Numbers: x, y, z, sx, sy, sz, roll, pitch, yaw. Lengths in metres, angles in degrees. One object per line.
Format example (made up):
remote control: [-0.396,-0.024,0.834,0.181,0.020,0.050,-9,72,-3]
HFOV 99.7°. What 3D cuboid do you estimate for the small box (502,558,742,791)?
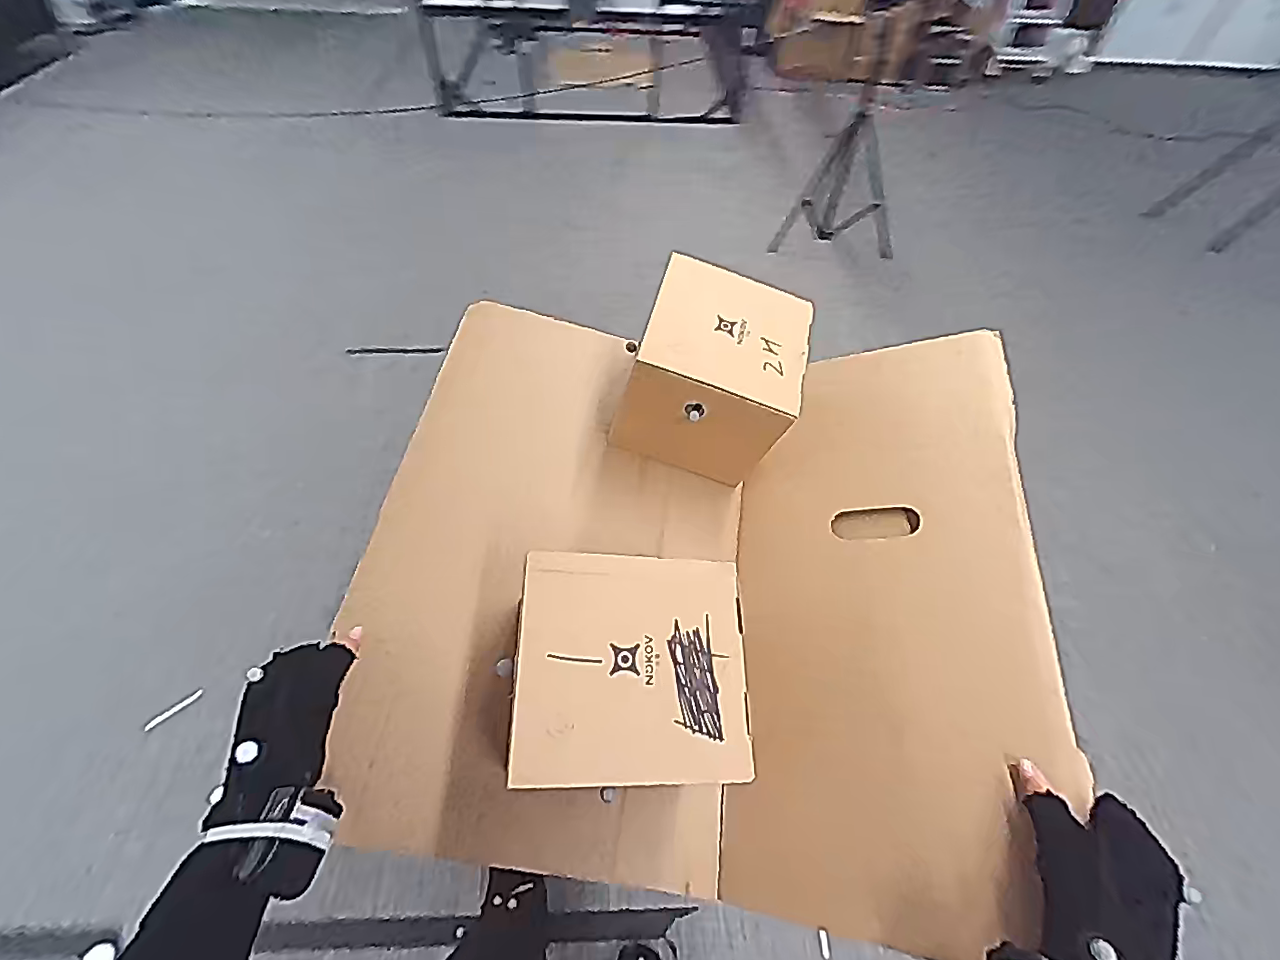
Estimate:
small box: [-0.026,0.177,0.486,0.179,0.176,0.168,4,63,-11]
